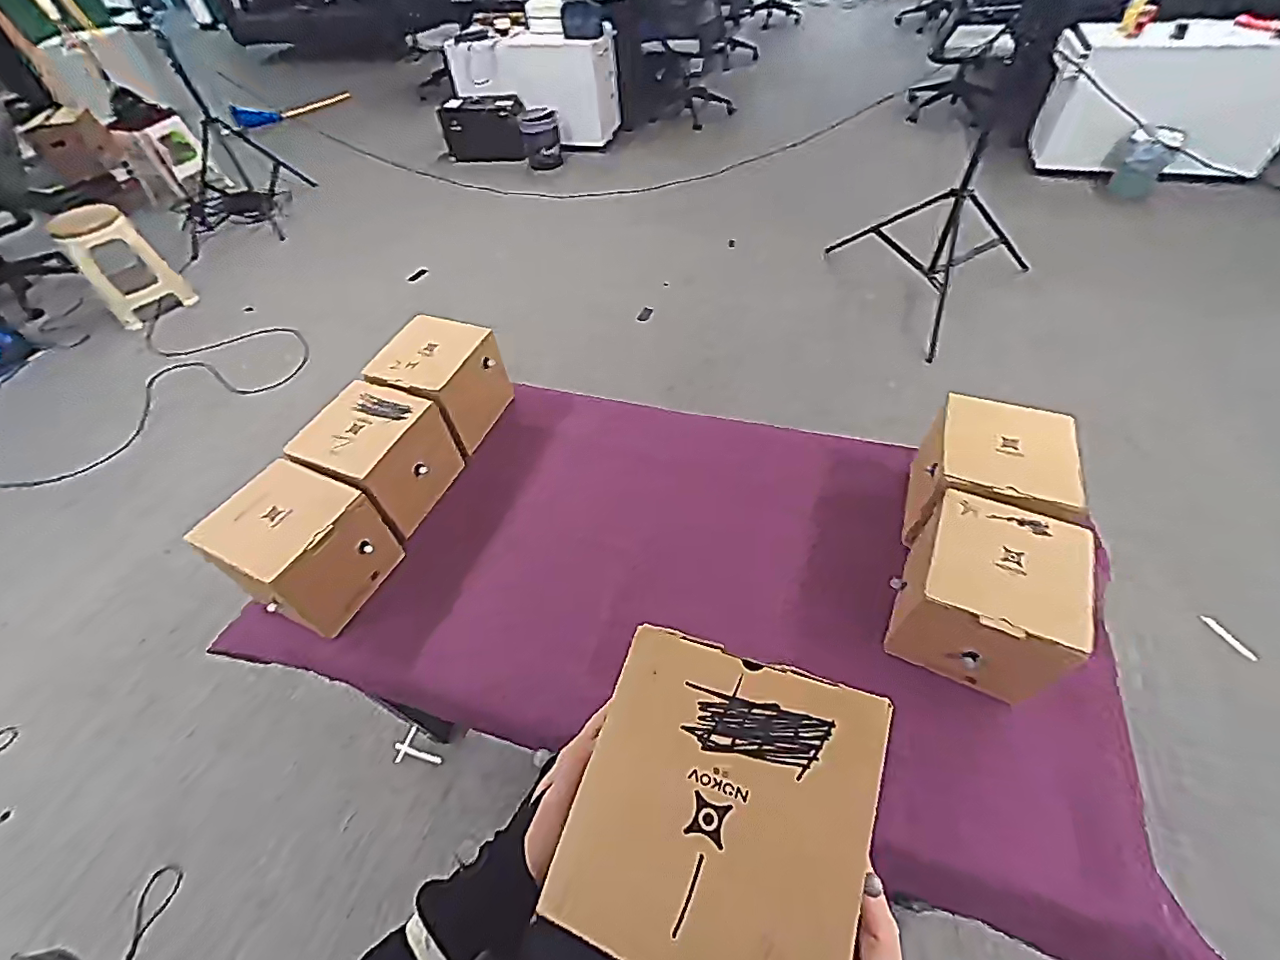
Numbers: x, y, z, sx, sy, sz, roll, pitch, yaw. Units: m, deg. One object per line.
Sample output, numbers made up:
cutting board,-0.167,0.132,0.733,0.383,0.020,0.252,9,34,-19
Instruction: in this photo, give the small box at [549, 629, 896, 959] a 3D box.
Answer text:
small box,0.068,0.233,0.381,0.168,0.176,0.179,11,63,24

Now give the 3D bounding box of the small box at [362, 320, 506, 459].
small box,-0.372,-0.170,1.021,0.168,0.176,0.179,15,55,16

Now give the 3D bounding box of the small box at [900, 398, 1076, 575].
small box,0.503,0.010,0.805,0.168,0.176,0.179,15,53,15
